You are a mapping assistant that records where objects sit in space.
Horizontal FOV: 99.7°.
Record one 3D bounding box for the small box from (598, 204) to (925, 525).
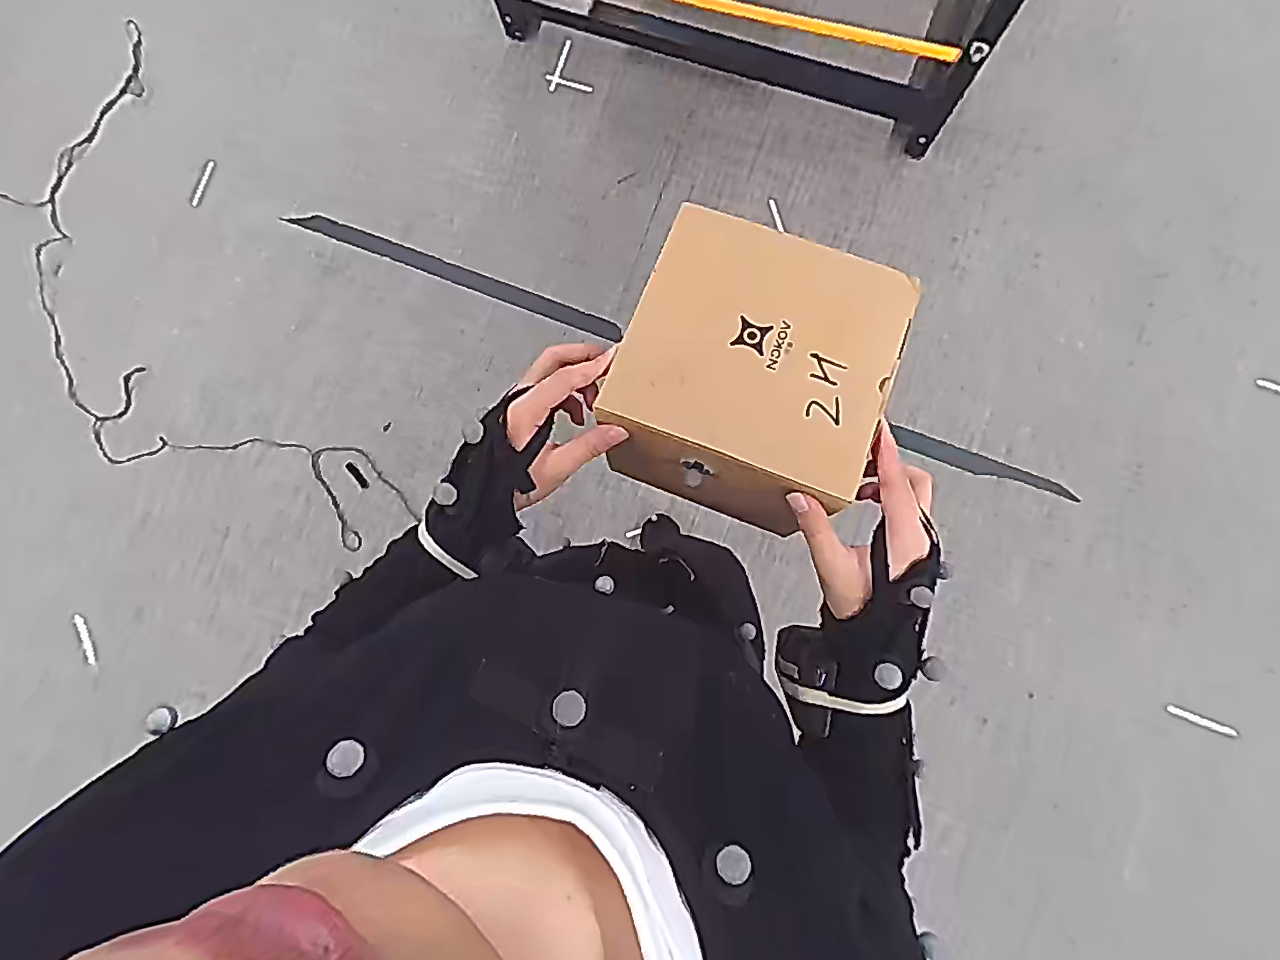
[{"bbox_3d":[0.083,-0.073,0.432,0.179,0.176,0.168,21,79,6],"label":"small box"}]
